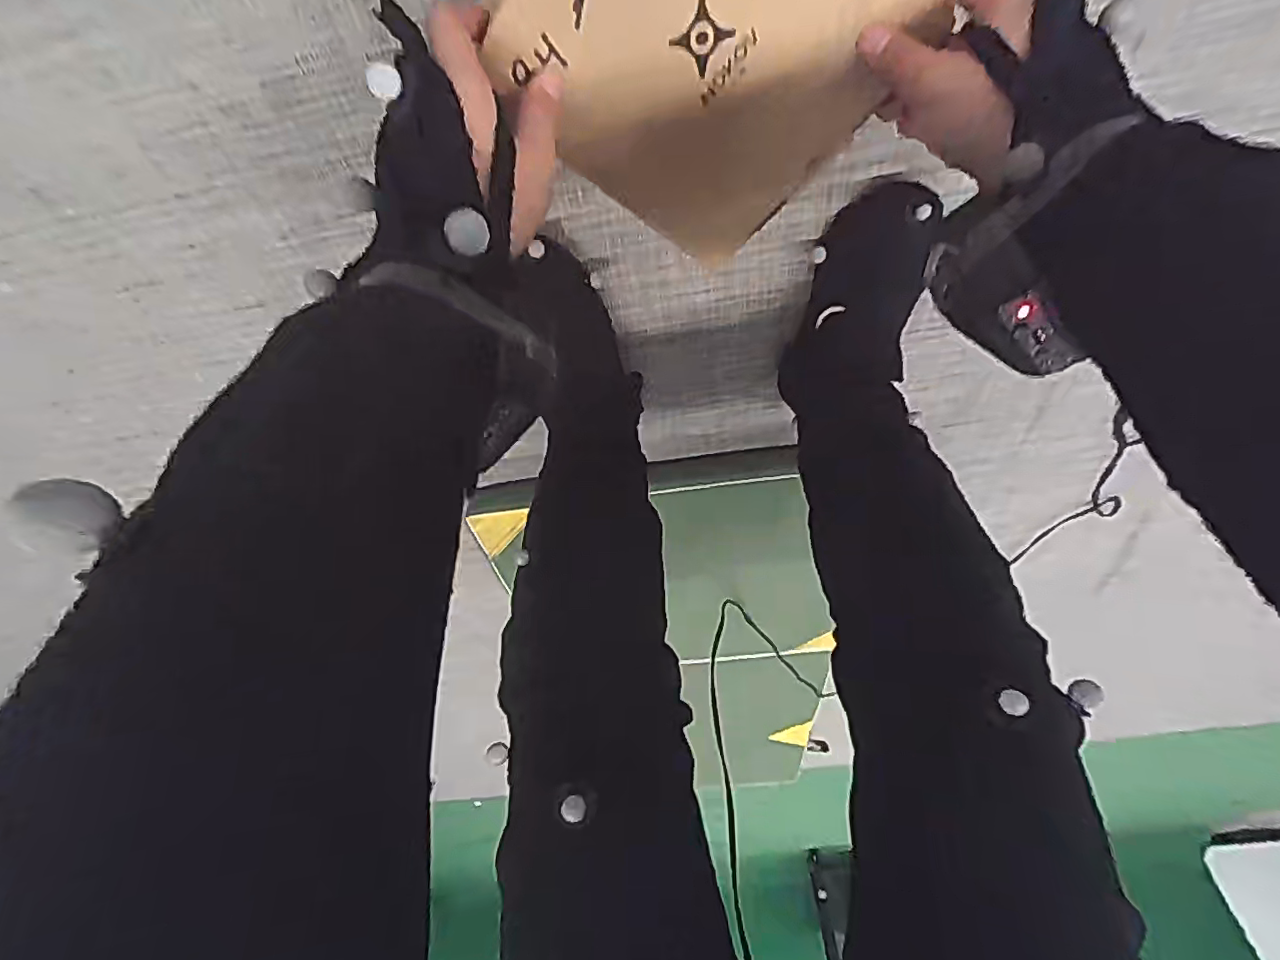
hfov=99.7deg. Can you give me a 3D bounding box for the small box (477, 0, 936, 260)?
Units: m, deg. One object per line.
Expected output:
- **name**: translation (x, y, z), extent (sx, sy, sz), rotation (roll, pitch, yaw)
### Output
- **small box**: translation (0.026, -0.278, 0.315), extent (0.179, 0.176, 0.168), rotation (22, 135, -34)
